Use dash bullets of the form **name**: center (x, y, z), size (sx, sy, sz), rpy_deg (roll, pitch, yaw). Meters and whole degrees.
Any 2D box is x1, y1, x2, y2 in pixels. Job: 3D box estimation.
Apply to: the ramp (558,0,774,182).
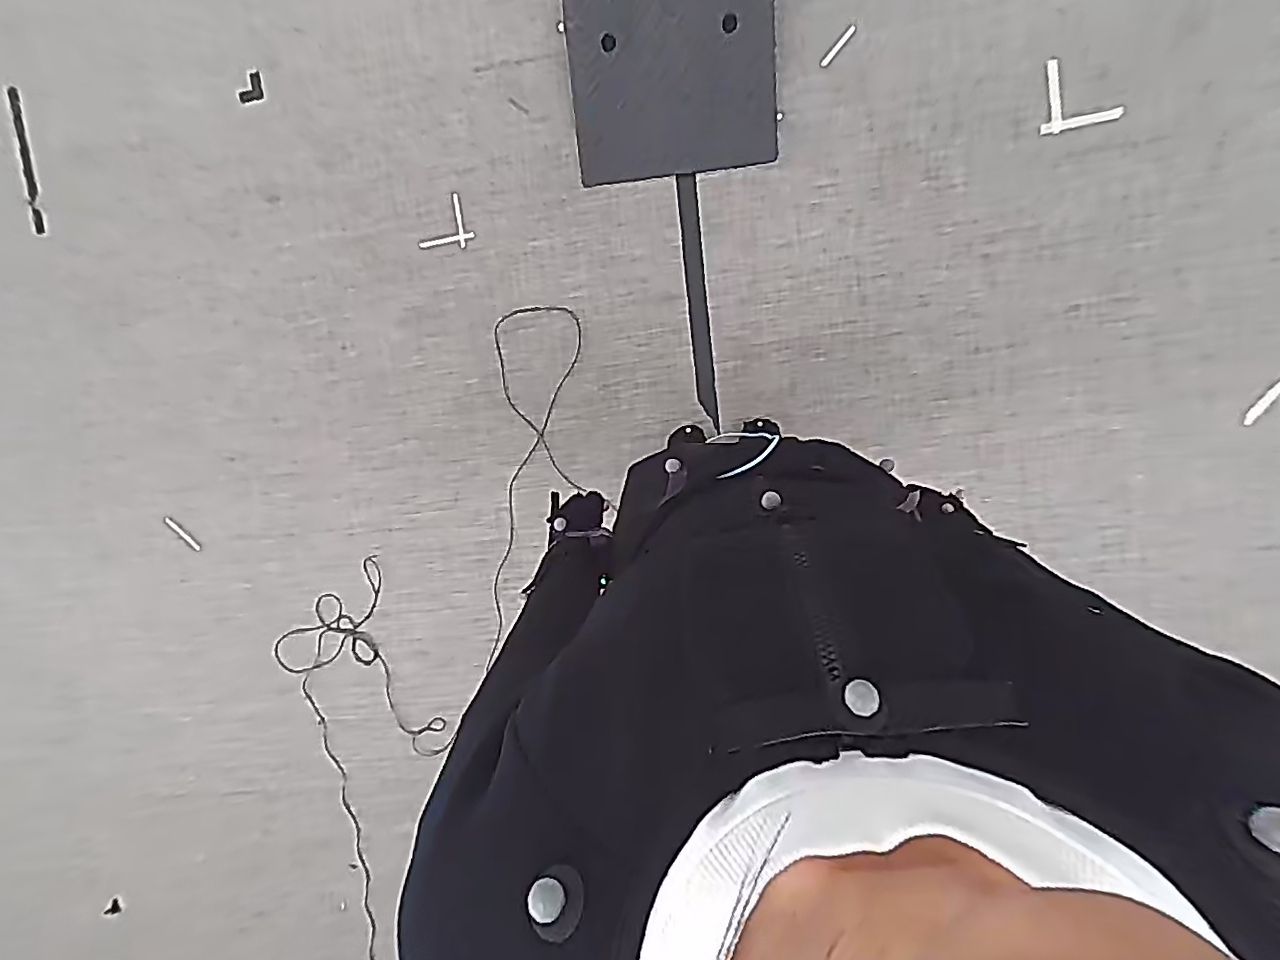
- **ramp**: center (0.040, -1.250, 1.210), size (0.509, 0.206, 0.991), rpy_deg (-6, 97, 6)
